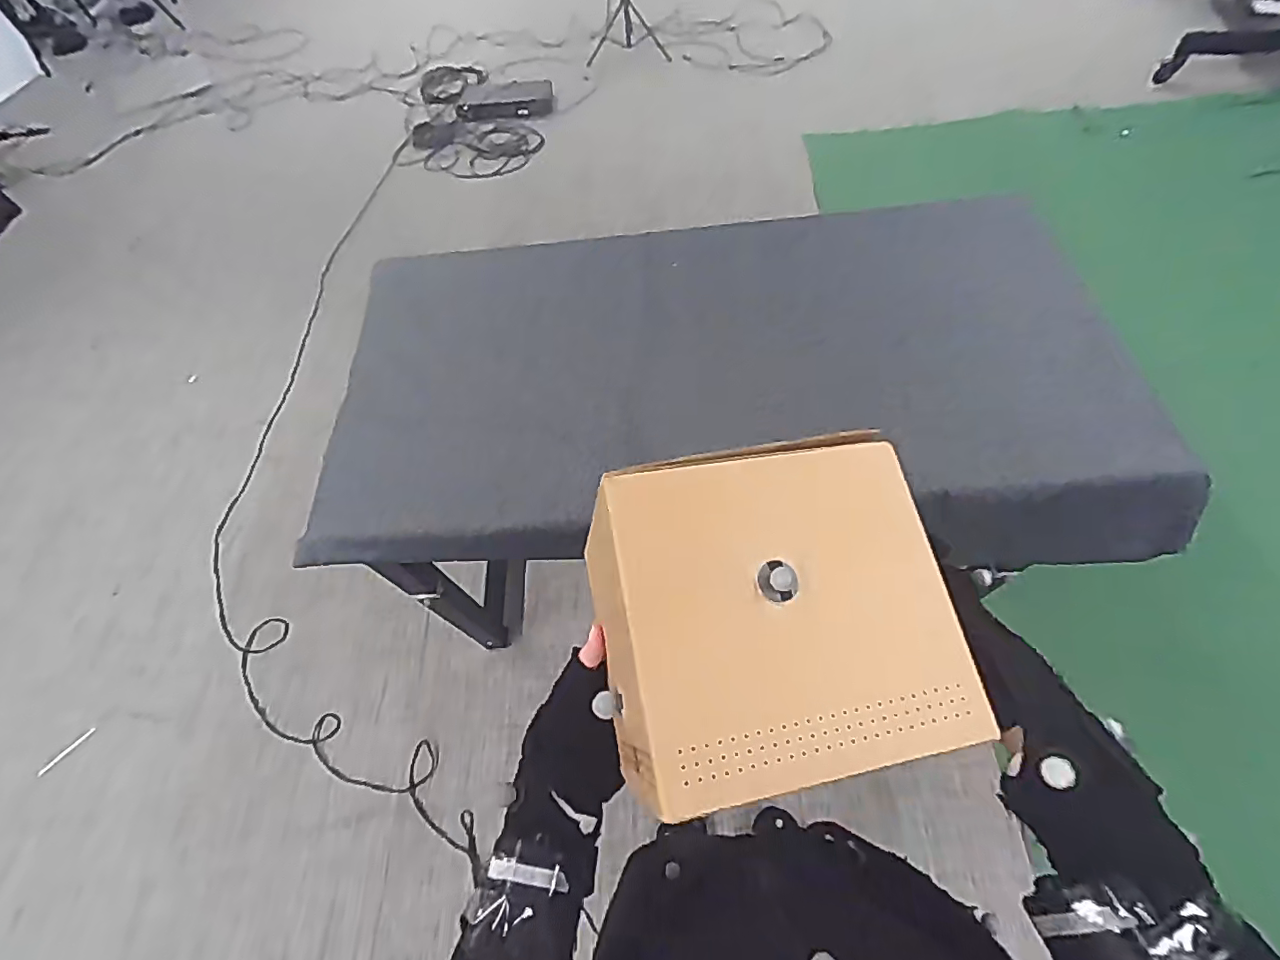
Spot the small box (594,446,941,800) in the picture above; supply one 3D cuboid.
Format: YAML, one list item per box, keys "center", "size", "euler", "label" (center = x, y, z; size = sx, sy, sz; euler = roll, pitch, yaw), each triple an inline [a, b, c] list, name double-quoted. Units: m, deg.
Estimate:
- center: [0.070, 0.094, 0.369]
  size: [0.179, 0.168, 0.176]
  euler: [-8, 69, -11]
  label: "small box"
